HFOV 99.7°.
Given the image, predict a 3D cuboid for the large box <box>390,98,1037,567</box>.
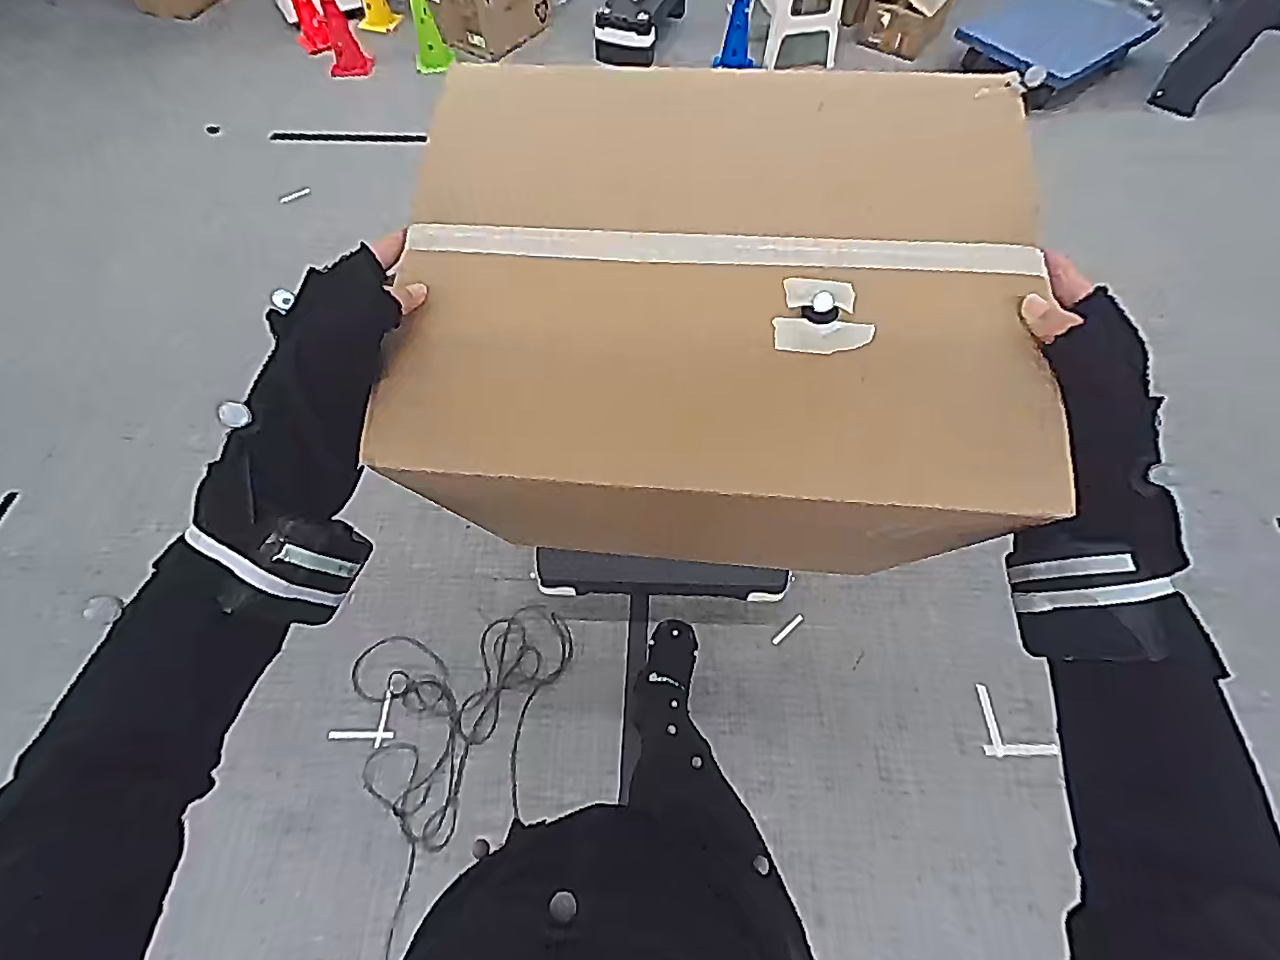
[{"bbox_3d":[0.054,-0.102,0.513,0.408,0.320,0.320,4,74,4],"label":"large box"}]
